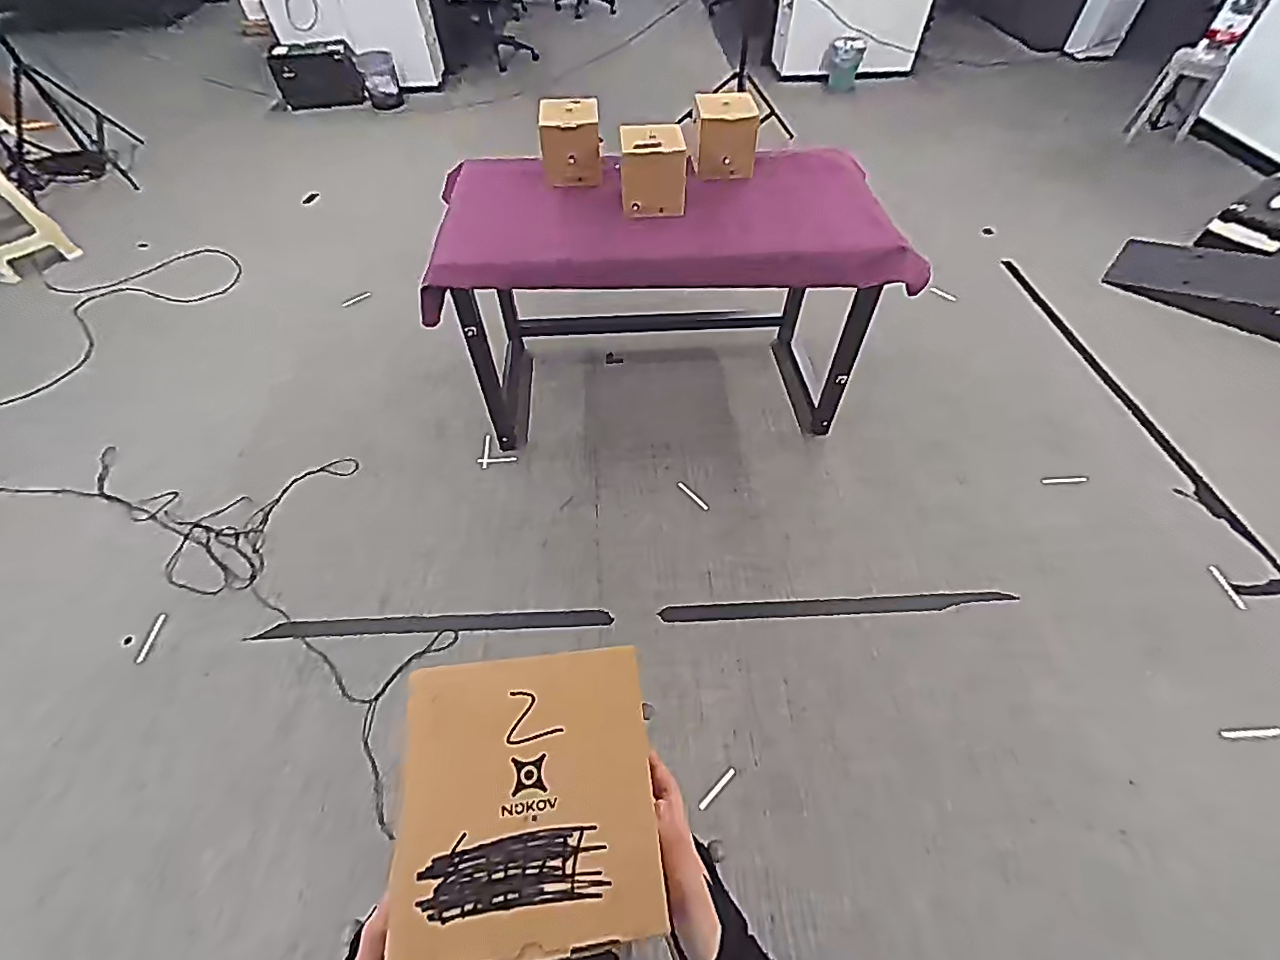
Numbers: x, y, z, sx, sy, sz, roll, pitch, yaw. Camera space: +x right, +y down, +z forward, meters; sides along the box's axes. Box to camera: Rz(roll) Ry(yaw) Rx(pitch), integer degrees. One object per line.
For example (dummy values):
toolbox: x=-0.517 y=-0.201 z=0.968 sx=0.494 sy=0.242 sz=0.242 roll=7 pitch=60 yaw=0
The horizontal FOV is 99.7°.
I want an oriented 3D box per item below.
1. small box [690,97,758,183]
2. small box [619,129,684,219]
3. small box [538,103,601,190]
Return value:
small box: x=0.243 y=-1.010 z=1.610 sx=0.168 sy=0.176 sz=0.179 roll=-4 pitch=54 yaw=-1
small box: x=0.030 y=-0.833 z=1.480 sx=0.168 sy=0.176 sz=0.179 roll=-3 pitch=52 yaw=-1
small box: x=-0.203 y=-0.974 z=1.589 sx=0.168 sy=0.176 sz=0.179 roll=-3 pitch=55 yaw=-2
